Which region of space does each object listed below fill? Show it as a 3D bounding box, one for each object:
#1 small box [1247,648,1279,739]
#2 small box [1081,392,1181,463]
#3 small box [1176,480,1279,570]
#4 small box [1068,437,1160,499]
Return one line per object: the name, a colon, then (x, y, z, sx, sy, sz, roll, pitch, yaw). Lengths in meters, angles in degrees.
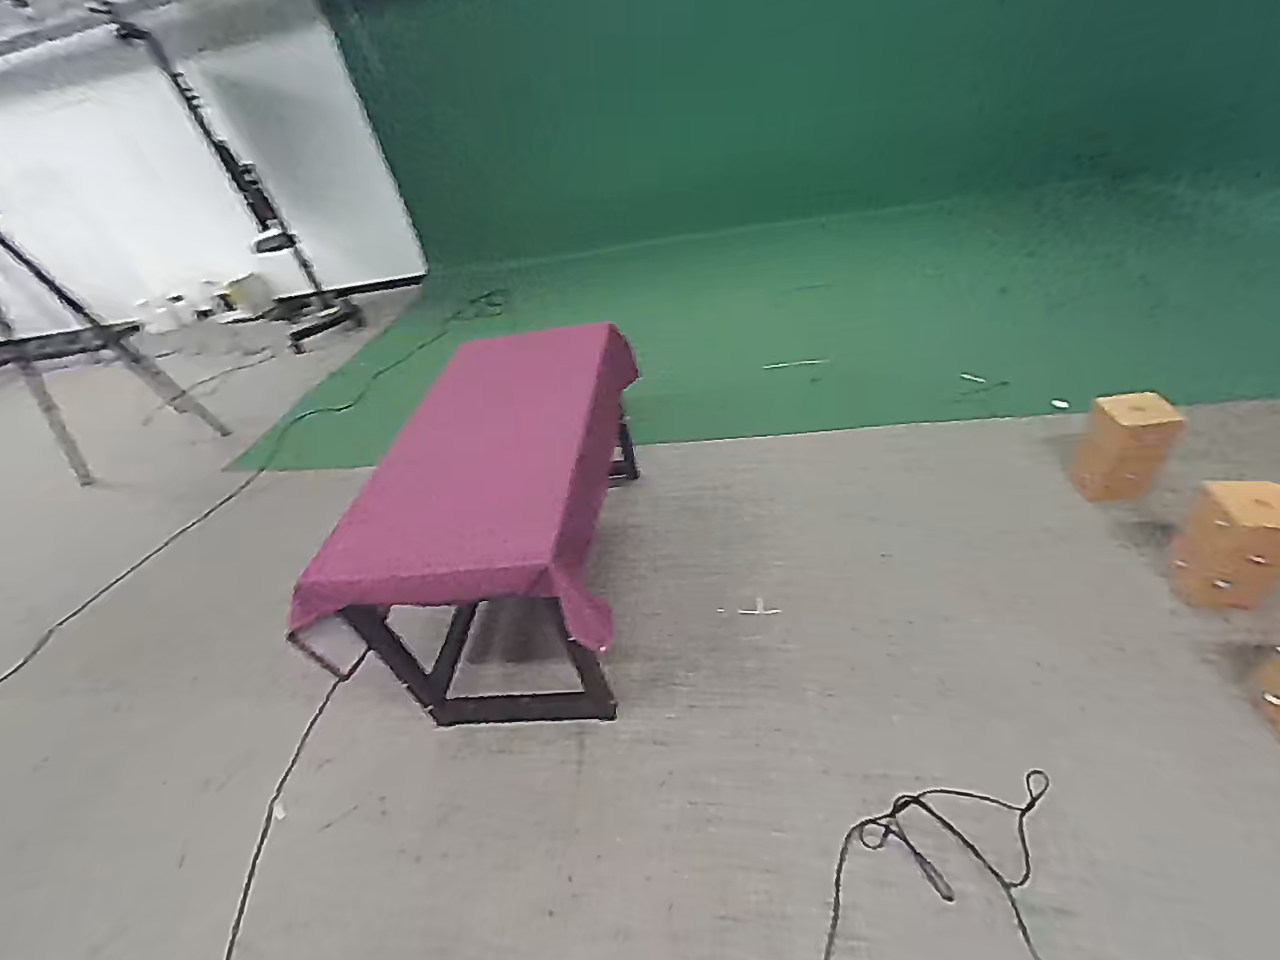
small box: (1.580, 0.507, 1.249, 0.179, 0.176, 0.168, -3, 40, 14)
small box: (1.617, -0.171, 1.800, 0.179, 0.176, 0.168, -6, 41, 10)
small box: (1.610, 0.118, 1.450, 0.168, 0.176, 0.179, -1, 40, 15)
small box: (1.650, -0.045, 1.901, 0.179, 0.176, 0.168, -4, 40, 11)
